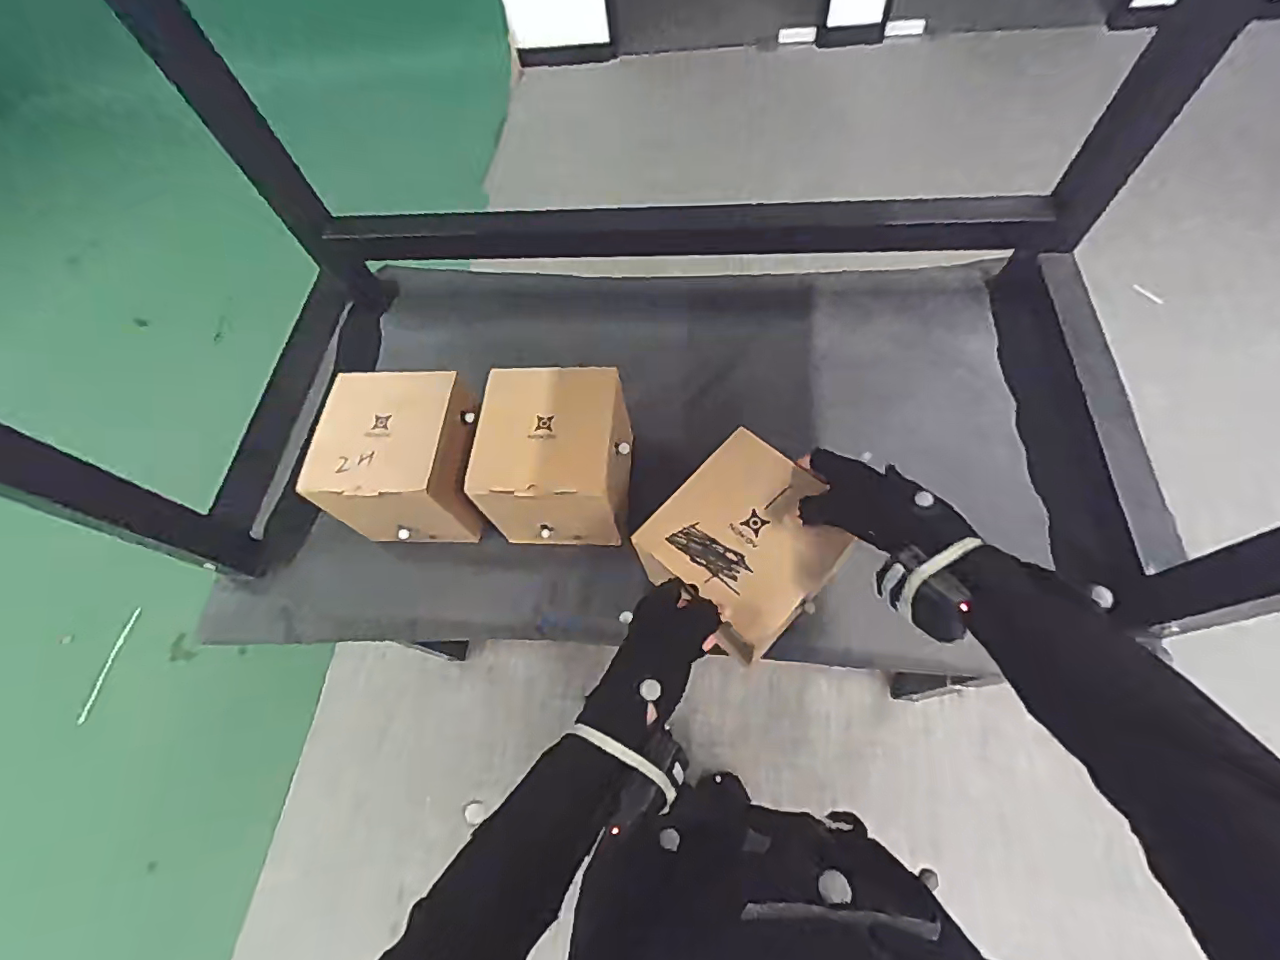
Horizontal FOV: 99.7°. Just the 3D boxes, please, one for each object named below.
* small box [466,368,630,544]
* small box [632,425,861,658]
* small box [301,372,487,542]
[{"bbox_3d":[-0.107,-0.028,0.719,0.168,0.176,0.179,1,64,7],"label":"small box"},{"bbox_3d":[0.118,0.079,0.619,0.168,0.176,0.179,39,75,22],"label":"small box"},{"bbox_3d":[-0.310,-0.028,0.739,0.168,0.176,0.179,0,64,7],"label":"small box"}]
